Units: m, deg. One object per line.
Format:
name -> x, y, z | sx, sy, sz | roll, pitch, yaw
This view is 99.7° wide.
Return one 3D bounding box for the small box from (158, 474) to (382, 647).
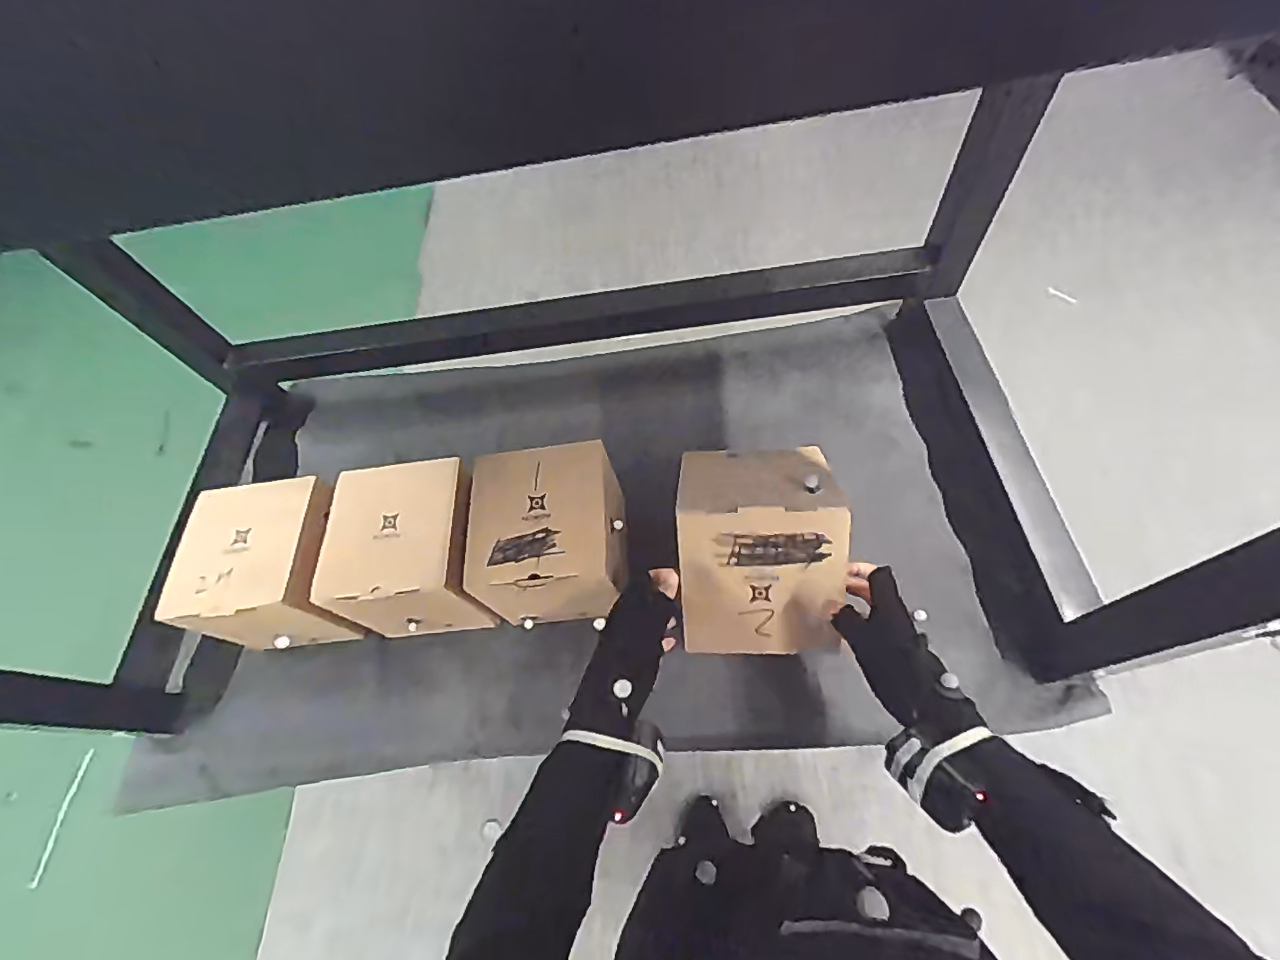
small box -> -0.481, 0.115, 0.738 | 0.168, 0.176, 0.179 | -8, 60, 6
